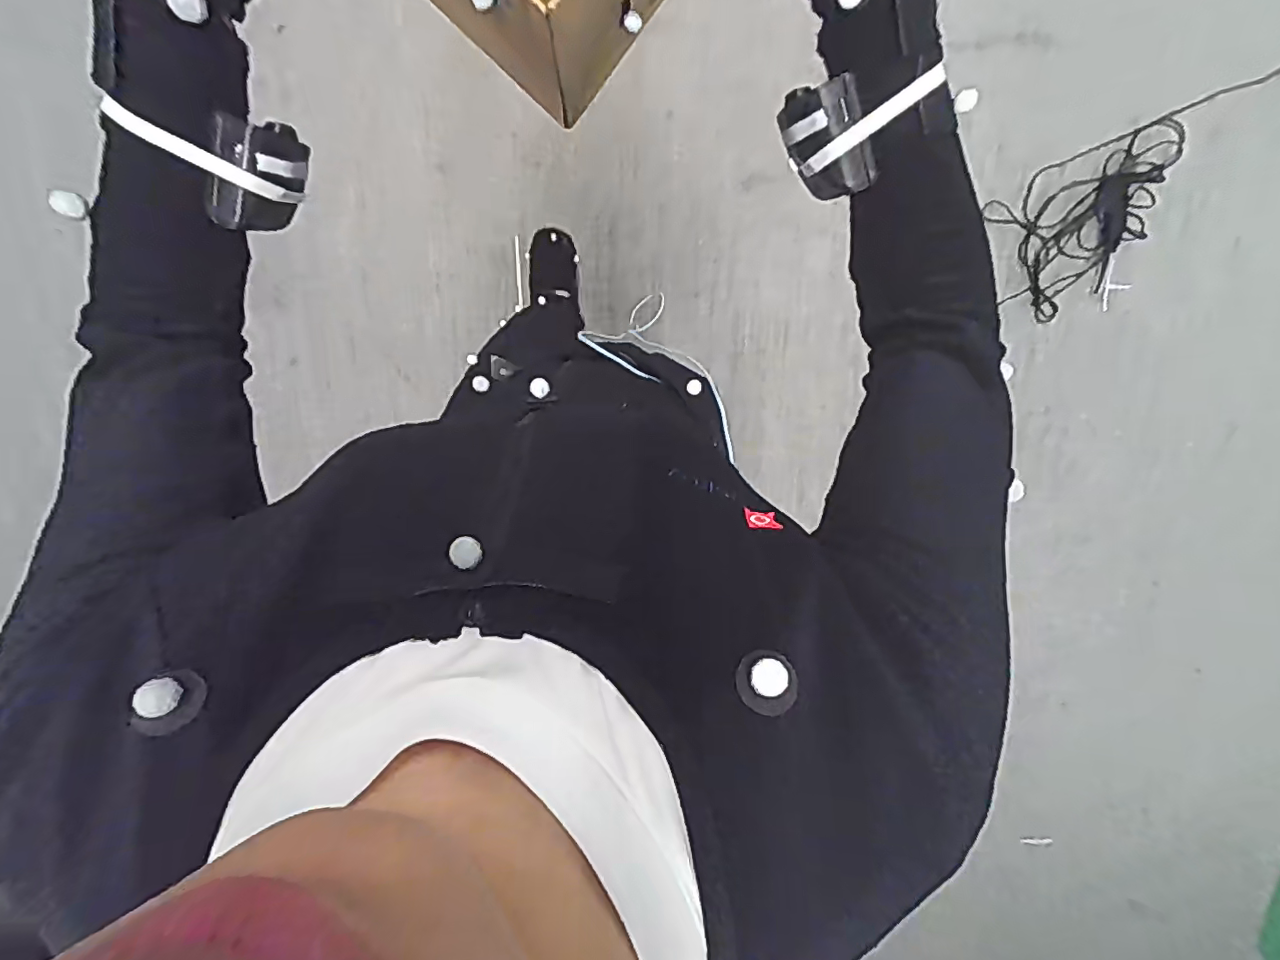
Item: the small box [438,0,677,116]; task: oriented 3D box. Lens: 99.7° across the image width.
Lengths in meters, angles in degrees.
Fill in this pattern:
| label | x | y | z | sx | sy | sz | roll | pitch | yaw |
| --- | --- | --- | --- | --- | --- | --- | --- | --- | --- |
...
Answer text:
| label | x | y | z | sx | sy | sz | roll | pitch | yaw |
| --- | --- | --- | --- | --- | --- | --- | --- | --- | --- |
| small box | -0.060 | -0.372 | 0.326 | 0.179 | 0.176 | 0.168 | 39 | 99 | -13 |
